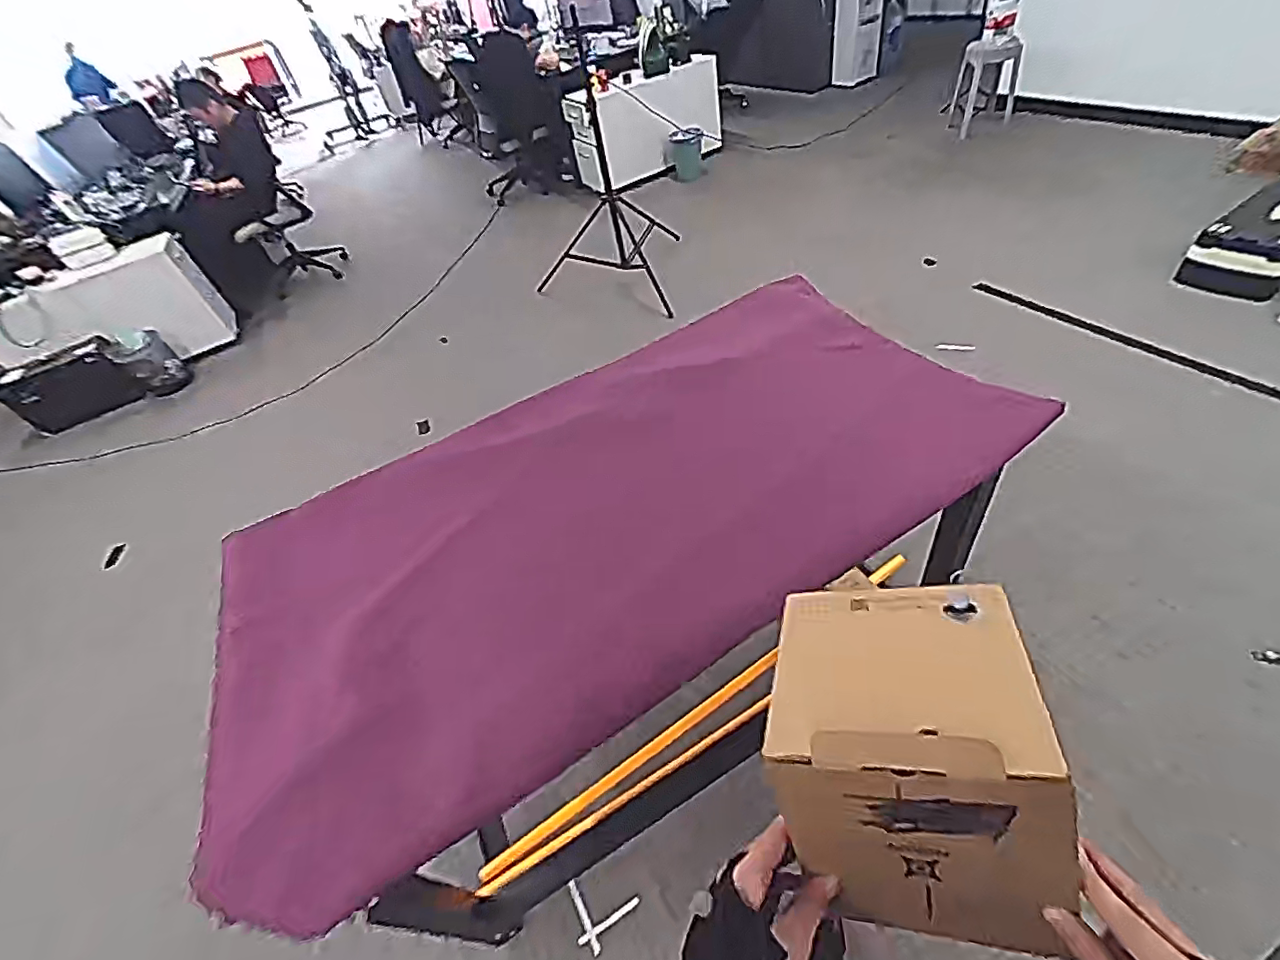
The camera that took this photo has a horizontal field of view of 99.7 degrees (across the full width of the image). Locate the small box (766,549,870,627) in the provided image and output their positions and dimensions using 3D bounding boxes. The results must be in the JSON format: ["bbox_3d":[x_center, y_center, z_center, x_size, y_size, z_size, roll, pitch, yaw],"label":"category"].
[{"bbox_3d":[0.413,0.299,1.246,0.179,0.176,0.168,-29,48,-13],"label":"small box"}]

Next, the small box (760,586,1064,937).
[{"bbox_3d":[0.200,0.196,0.419,0.168,0.179,0.176,-9,25,25],"label":"small box"}]
